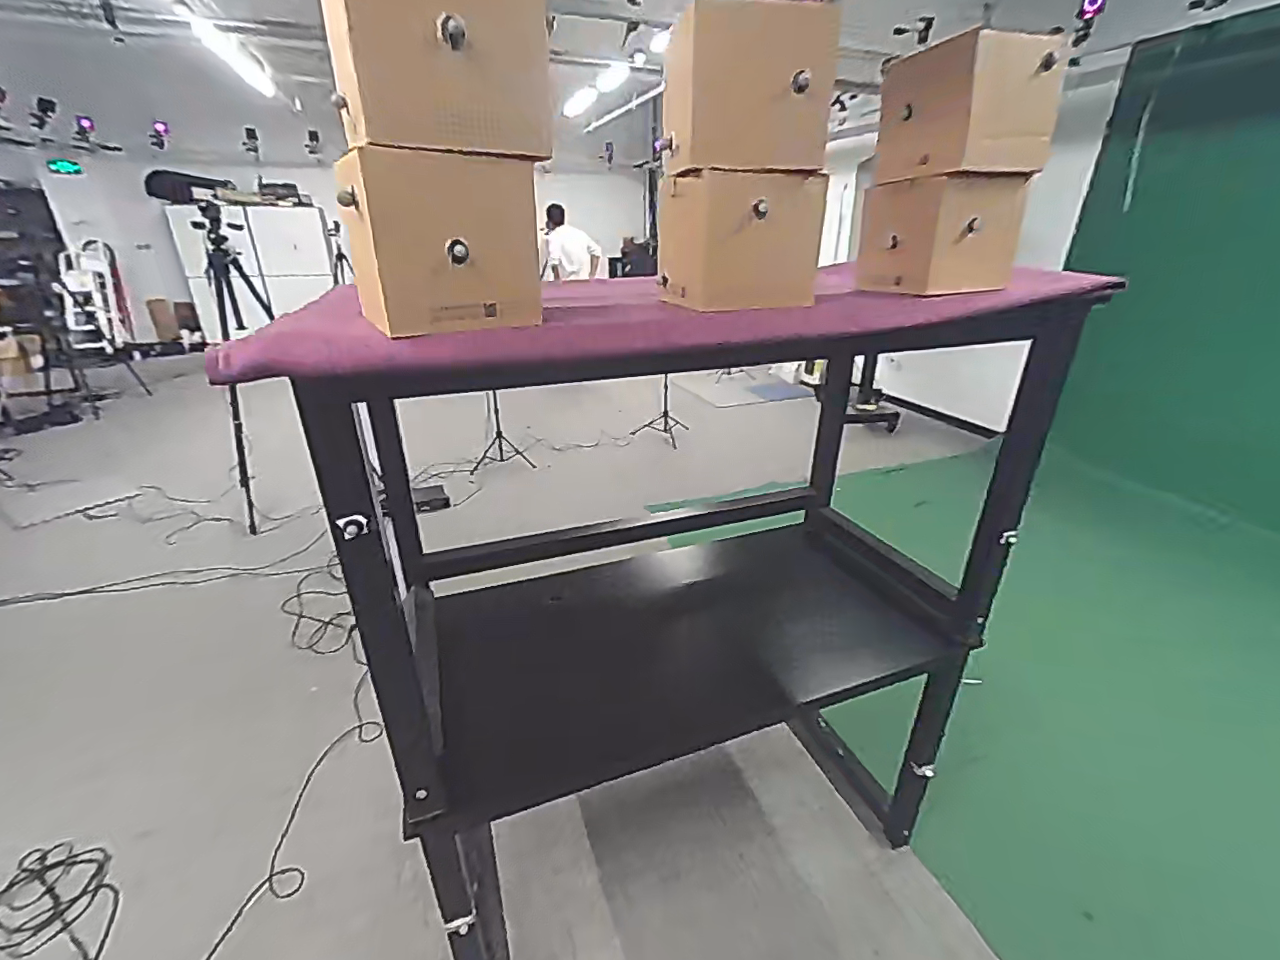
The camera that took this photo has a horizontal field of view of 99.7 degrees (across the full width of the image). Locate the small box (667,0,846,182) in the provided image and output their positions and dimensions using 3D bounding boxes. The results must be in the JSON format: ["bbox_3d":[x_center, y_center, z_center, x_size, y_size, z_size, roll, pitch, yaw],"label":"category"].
[{"bbox_3d":[0.135,-0.477,0.696,0.179,0.176,0.168,-5,24,-8],"label":"small box"}]

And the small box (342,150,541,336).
[{"bbox_3d":[-0.219,-0.259,0.607,0.168,0.176,0.179,-14,28,-30],"label":"small box"}]

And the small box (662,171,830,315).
[{"bbox_3d":[0.139,-0.331,0.765,0.179,0.176,0.168,-8,26,-18],"label":"small box"}]

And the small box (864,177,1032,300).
[{"bbox_3d":[0.492,-0.392,0.891,0.179,0.176,0.168,-10,24,-17],"label":"small box"}]

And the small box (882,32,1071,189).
[{"bbox_3d":[0.491,-0.538,0.817,0.179,0.176,0.168,-10,24,-17],"label":"small box"}]
